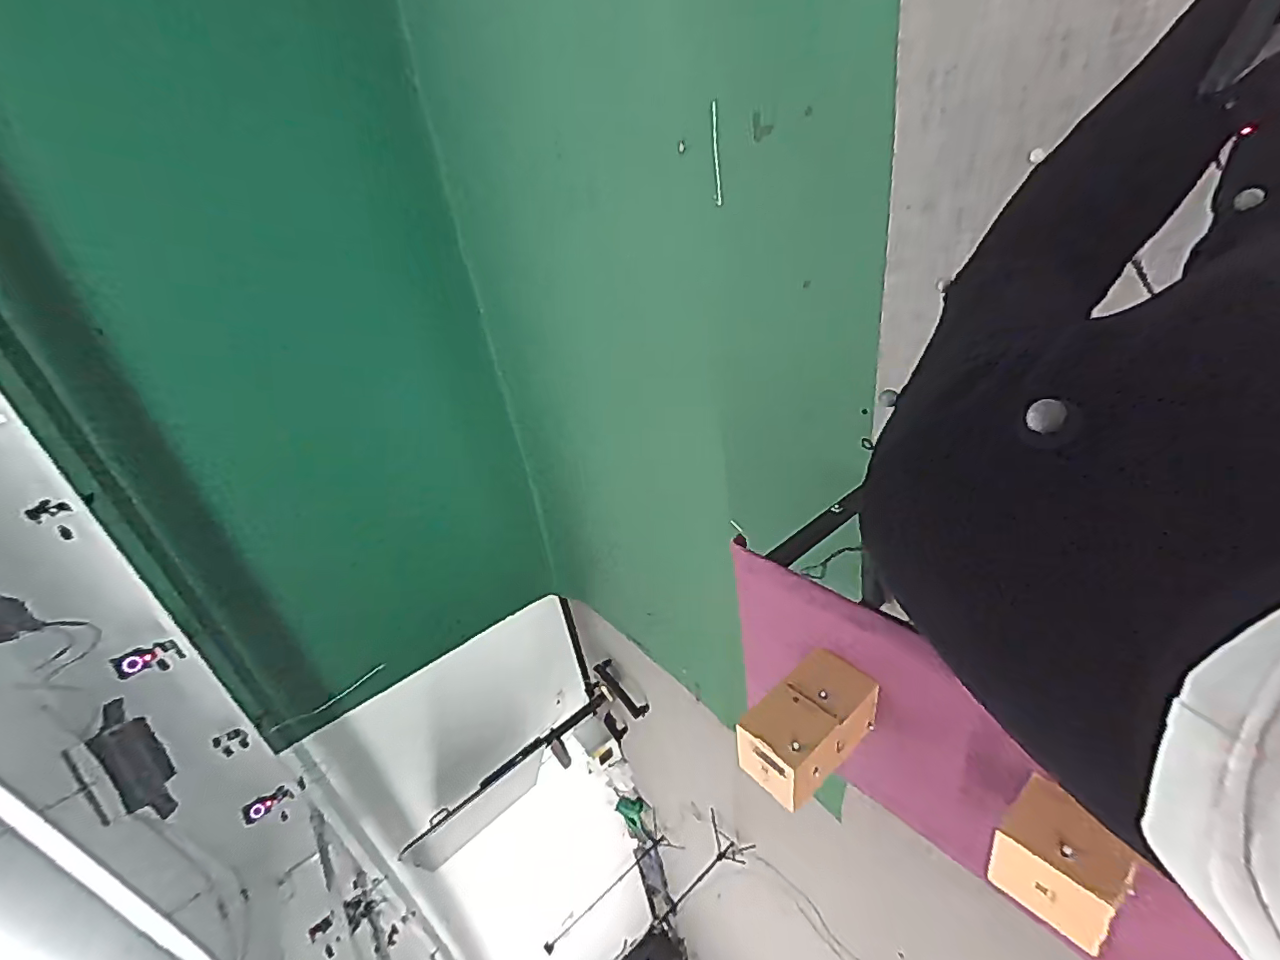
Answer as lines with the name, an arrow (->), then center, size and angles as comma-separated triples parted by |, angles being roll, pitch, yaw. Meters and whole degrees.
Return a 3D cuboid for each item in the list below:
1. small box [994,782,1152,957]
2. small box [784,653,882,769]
small box -> 0.797, 0.702, 1.002 | 0.179, 0.176, 0.168 | 21, 130, 48
small box -> 0.487, 0.575, 1.370 | 0.179, 0.176, 0.168 | 27, 135, 46
